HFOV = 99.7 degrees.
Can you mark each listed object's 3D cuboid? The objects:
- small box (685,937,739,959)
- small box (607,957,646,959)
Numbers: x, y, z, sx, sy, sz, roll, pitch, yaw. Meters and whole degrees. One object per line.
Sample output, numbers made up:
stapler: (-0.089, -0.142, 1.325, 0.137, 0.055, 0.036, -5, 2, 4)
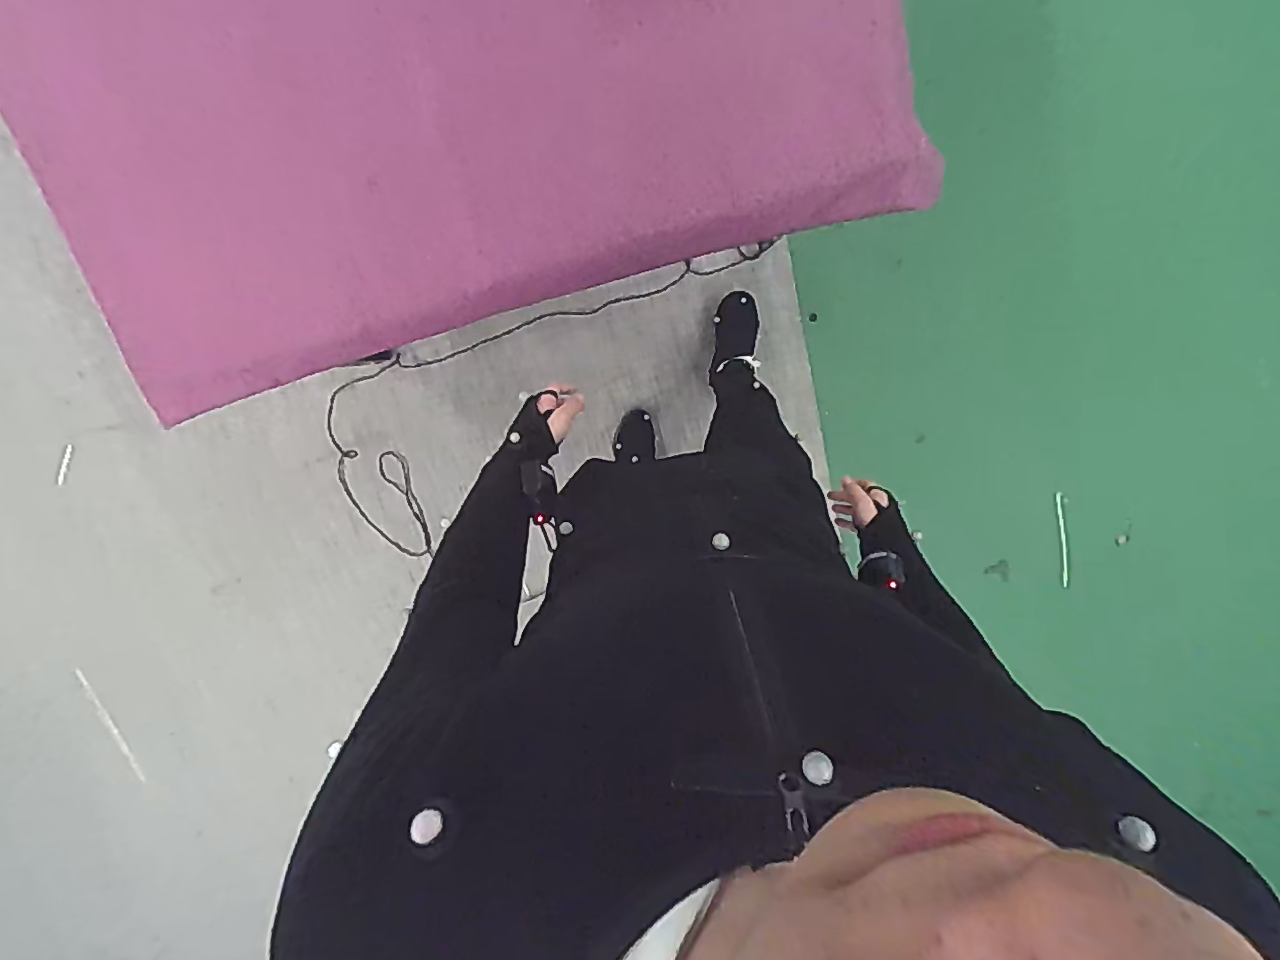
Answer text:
small box: (0.248, 1.608, 1.712, 0.168, 0.176, 0.179, -16, 104, 3)
small box: (-0.041, 1.686, 1.730, 0.168, 0.176, 0.179, -9, 102, 3)
